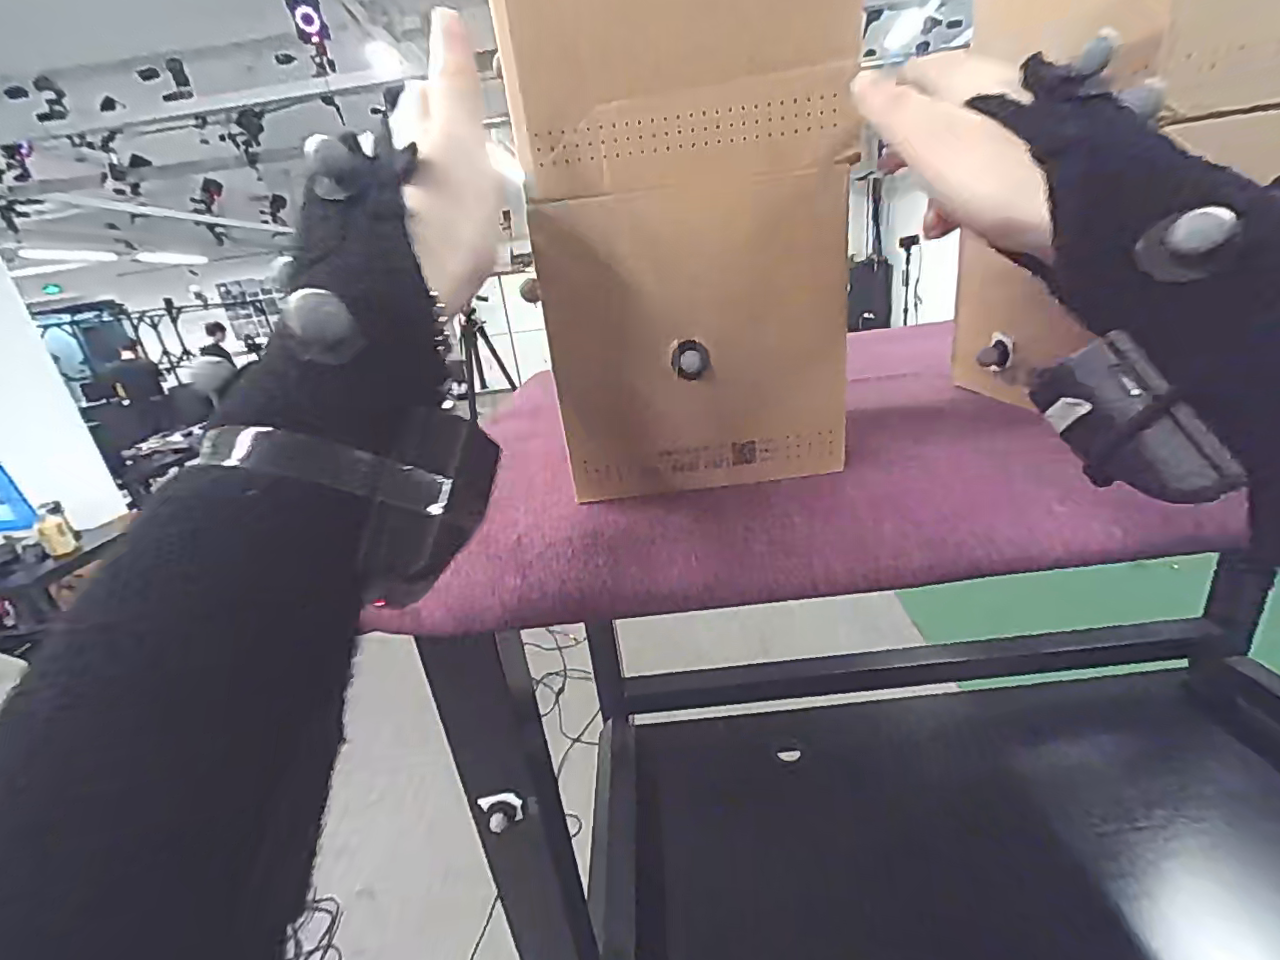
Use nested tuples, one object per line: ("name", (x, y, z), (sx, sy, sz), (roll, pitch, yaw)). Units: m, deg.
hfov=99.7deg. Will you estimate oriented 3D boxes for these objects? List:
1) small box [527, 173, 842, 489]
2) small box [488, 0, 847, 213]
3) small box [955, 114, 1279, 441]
("small box", (0.030, -0.097, 0.378), (0.168, 0.176, 0.179), (-5, 21, 1))
("small box", (0.011, -0.249, 0.319), (0.179, 0.176, 0.168), (-7, 22, 0))
("small box", (0.349, -0.137, 0.374), (0.179, 0.176, 0.168), (-8, 20, 2))
